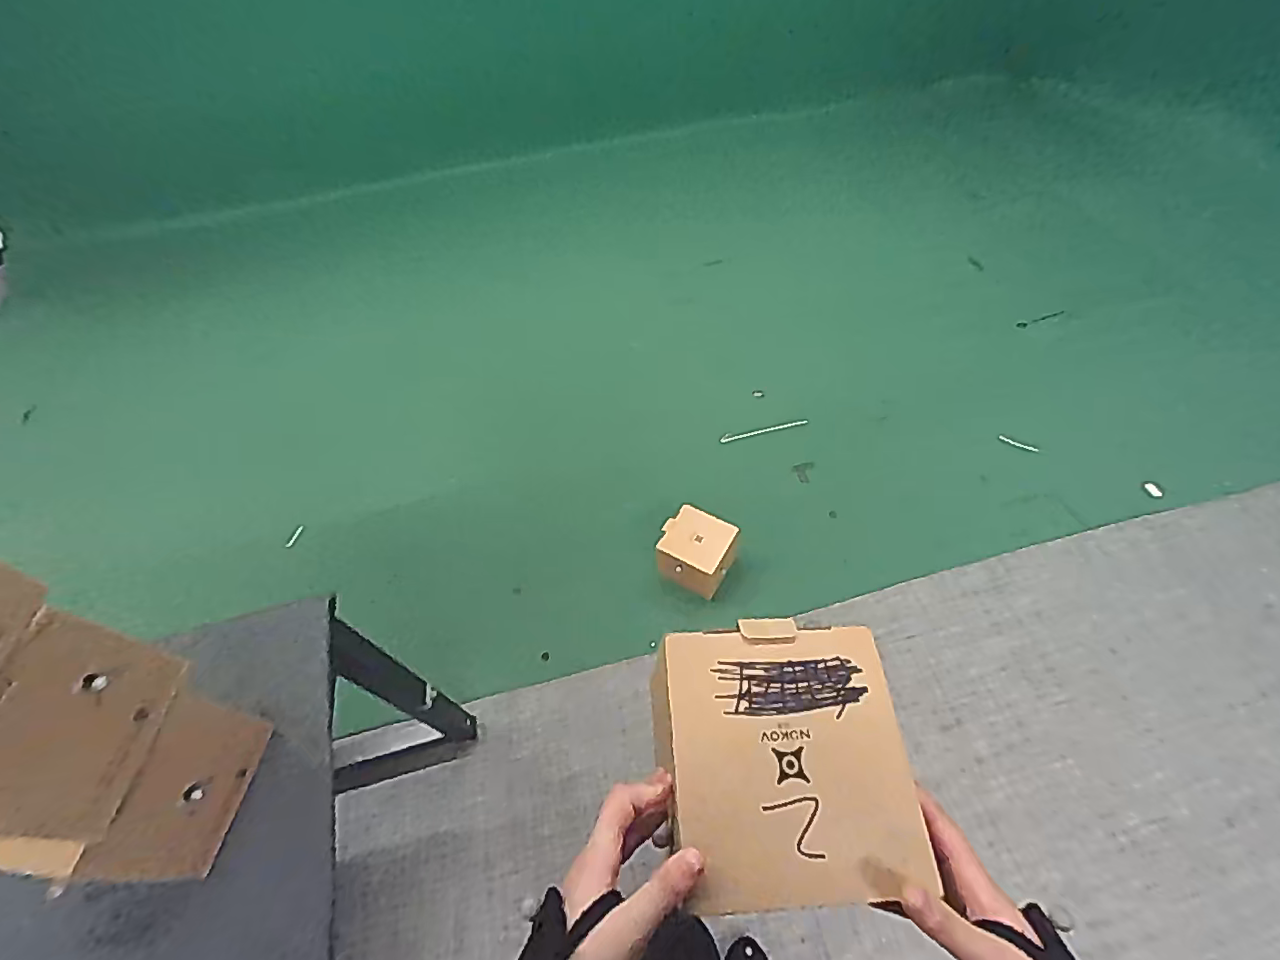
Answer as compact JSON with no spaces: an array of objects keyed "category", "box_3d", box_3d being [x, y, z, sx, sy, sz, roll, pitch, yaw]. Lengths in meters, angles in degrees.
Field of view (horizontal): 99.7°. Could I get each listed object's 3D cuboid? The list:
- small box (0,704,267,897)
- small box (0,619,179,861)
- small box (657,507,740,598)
[{"category":"small box","box_3d":[-0.569,0.343,0.596,0.179,0.176,0.168,1,54,9]},{"category":"small box","box_3d":[-0.579,0.231,0.477,0.179,0.176,0.168,-4,52,6]},{"category":"small box","box_3d":[0.167,0.213,1.537,0.179,0.176,0.168,24,60,22]}]
